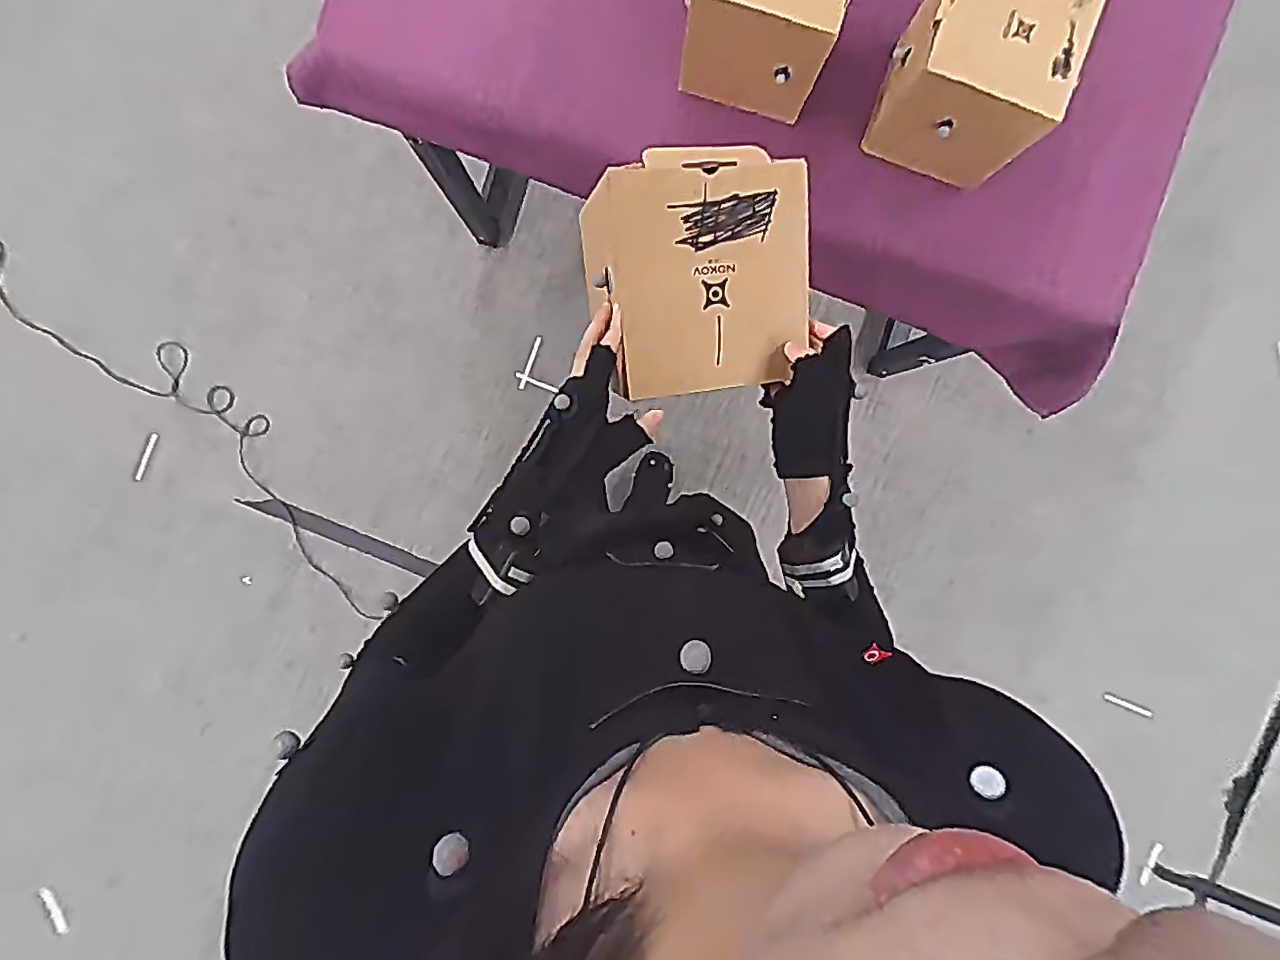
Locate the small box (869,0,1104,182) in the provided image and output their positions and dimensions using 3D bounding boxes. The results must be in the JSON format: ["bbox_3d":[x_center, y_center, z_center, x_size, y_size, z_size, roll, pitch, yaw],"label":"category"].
[{"bbox_3d":[0.427,-0.521,0.696,0.179,0.176,0.168,19,92,-1],"label":"small box"}]

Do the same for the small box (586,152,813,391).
[{"bbox_3d":[0.047,-0.186,0.515,0.168,0.176,0.179,-9,106,-11],"label":"small box"}]

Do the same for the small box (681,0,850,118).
[{"bbox_3d":[0.161,-0.604,0.687,0.179,0.176,0.168,14,90,-1],"label":"small box"}]
